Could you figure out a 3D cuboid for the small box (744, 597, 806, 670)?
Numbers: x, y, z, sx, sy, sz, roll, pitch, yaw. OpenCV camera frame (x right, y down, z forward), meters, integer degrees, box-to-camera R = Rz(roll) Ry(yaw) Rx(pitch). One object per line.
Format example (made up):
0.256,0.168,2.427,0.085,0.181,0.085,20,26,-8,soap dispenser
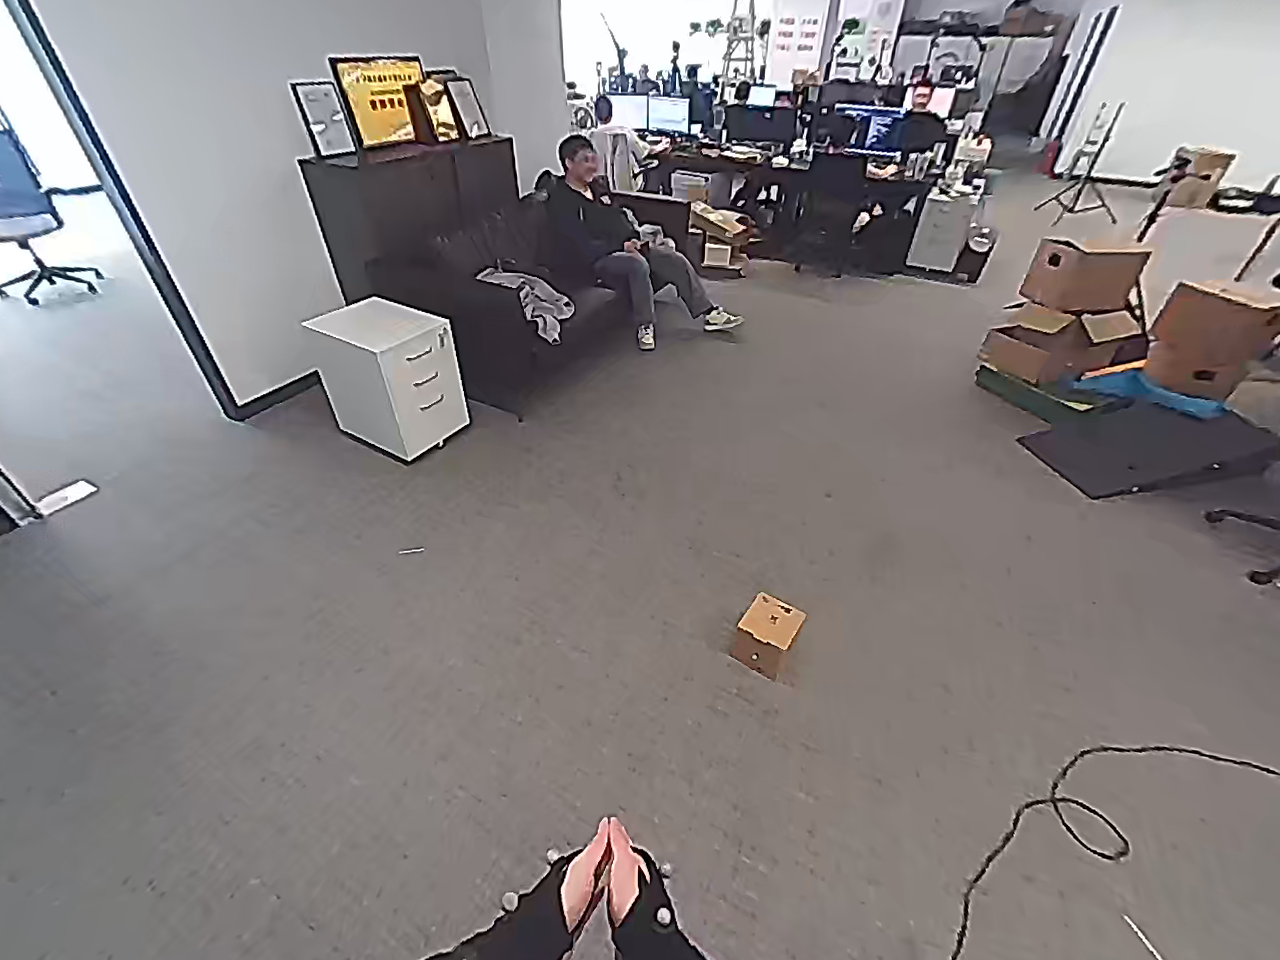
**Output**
0.438,0.507,1.782,0.179,0.176,0.168,3,36,5,small box
